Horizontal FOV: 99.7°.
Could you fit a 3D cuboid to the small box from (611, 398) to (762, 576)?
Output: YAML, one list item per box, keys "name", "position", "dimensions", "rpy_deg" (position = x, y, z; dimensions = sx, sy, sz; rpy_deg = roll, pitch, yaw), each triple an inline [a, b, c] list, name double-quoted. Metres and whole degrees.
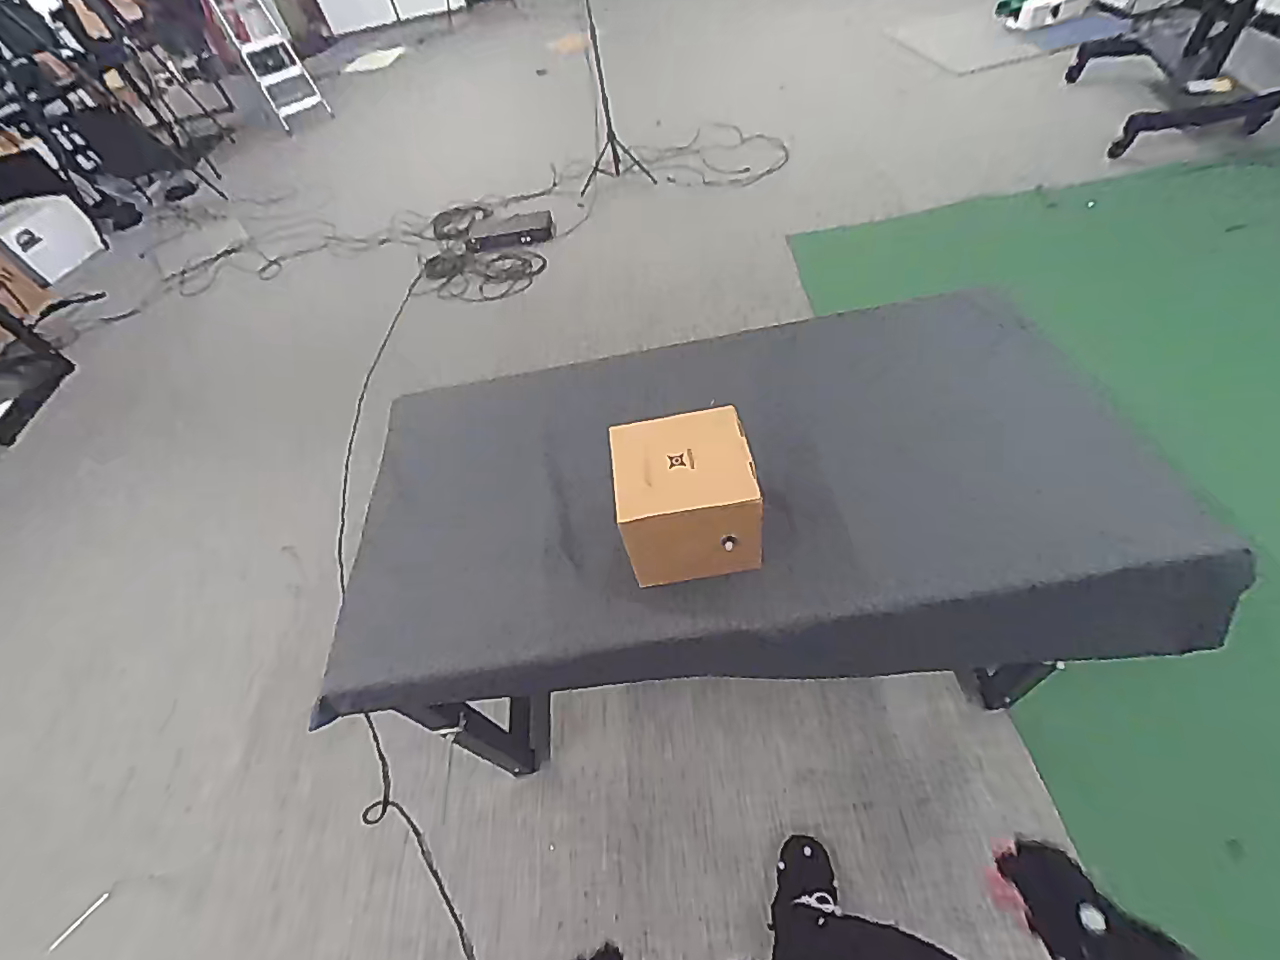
- name: "small box"
  position: [0.065, 0.015, 0.754]
  dimensions: [0.179, 0.176, 0.168]
  rpy_deg: [-11, 51, 5]
